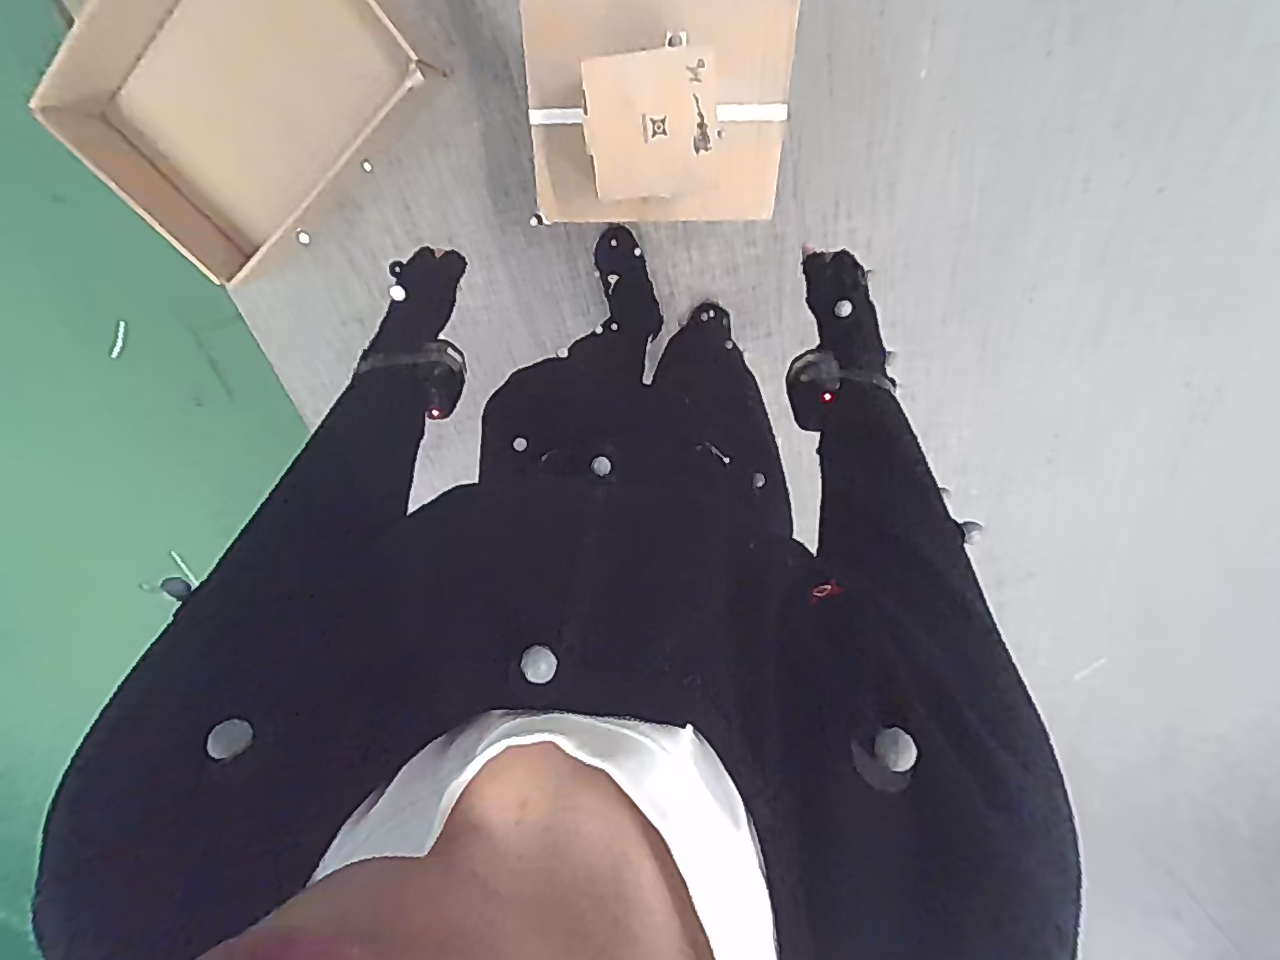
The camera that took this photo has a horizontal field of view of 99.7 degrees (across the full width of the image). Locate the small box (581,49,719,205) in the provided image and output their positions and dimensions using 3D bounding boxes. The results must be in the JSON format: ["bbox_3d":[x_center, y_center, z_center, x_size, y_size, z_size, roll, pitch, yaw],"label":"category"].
[{"bbox_3d":[0.021,-0.508,0.794,0.179,0.176,0.168,-4,121,4],"label":"small box"}]
